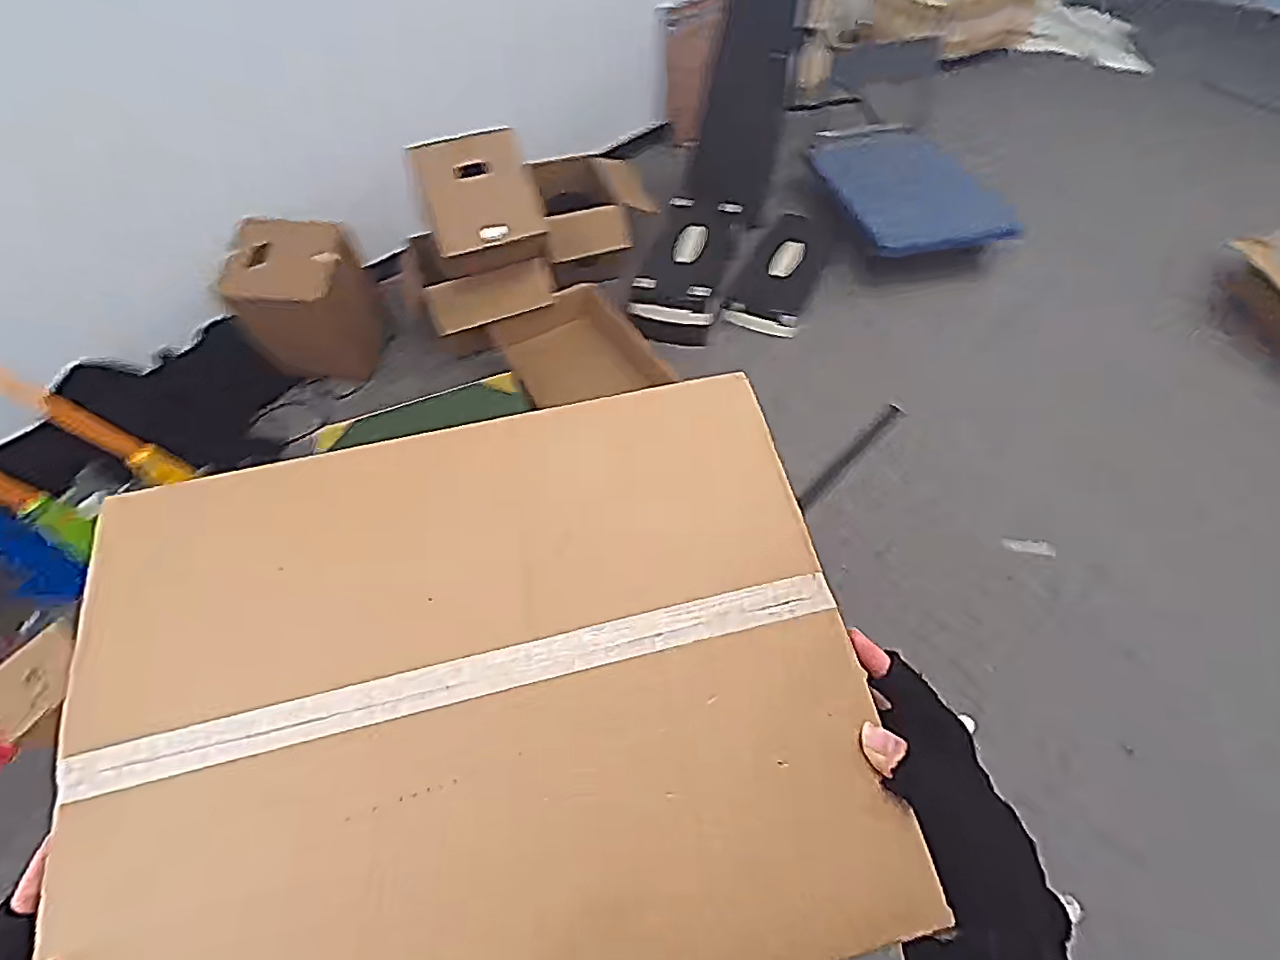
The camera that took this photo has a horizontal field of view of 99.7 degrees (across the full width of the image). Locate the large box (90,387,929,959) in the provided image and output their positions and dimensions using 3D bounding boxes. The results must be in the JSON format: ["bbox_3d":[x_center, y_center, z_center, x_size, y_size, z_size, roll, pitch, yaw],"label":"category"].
[{"bbox_3d":[-0.083,0.170,0.440,0.408,0.320,0.320,-11,68,-5],"label":"large box"}]
